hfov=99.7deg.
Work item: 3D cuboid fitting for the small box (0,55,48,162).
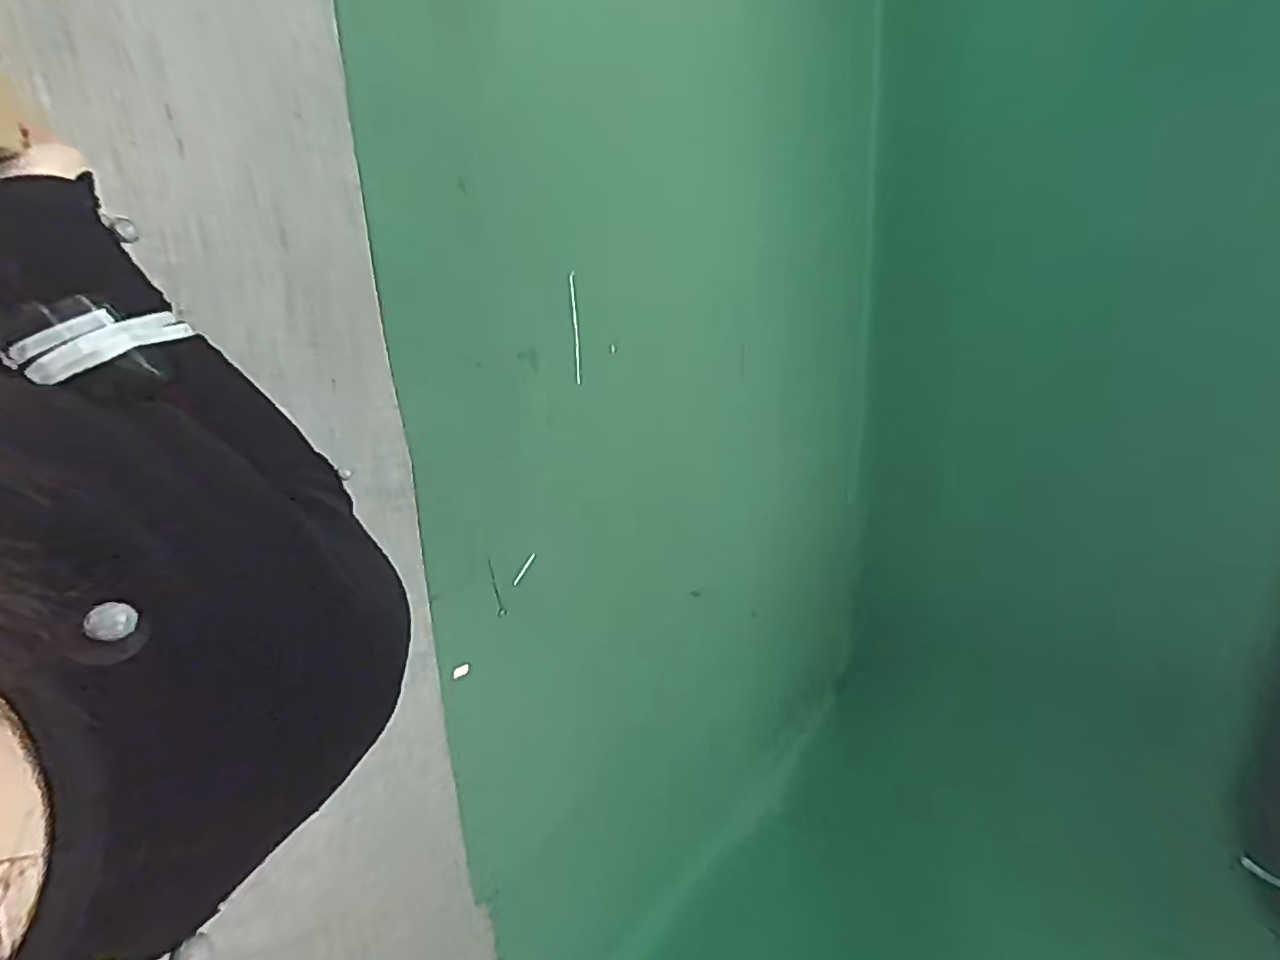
[{"bbox_3d":[-0.525,-0.280,0.323,0.179,0.176,0.168,-28,129,-28],"label":"small box"}]
